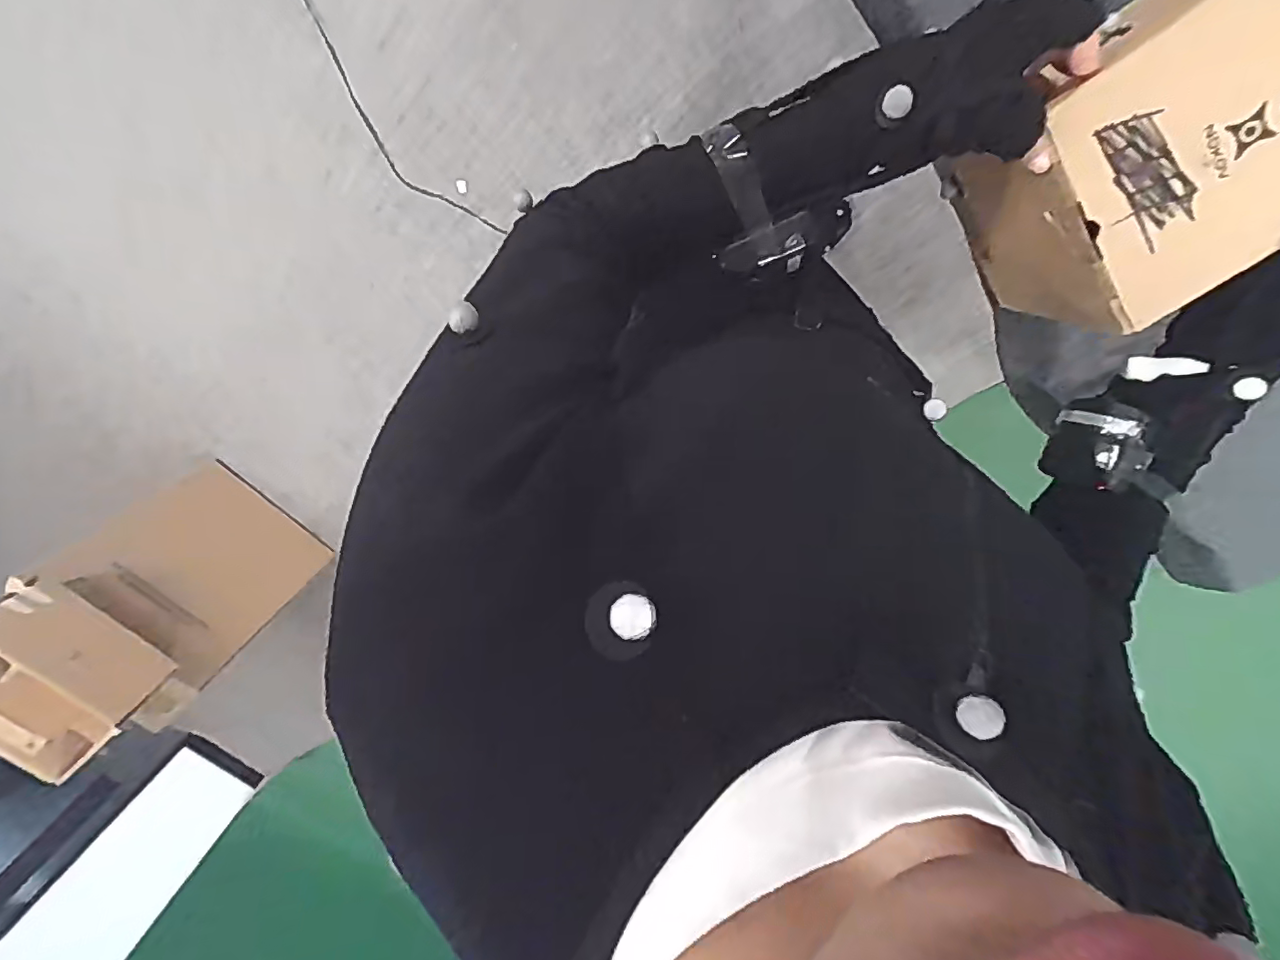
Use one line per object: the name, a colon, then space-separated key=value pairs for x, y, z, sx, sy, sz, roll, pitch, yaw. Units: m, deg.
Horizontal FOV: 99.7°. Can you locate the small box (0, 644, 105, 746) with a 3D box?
small box: x=-1.590 y=0.557 z=1.423 sx=0.168 sy=0.176 sz=0.179 roll=-33 pitch=108 yaw=29
